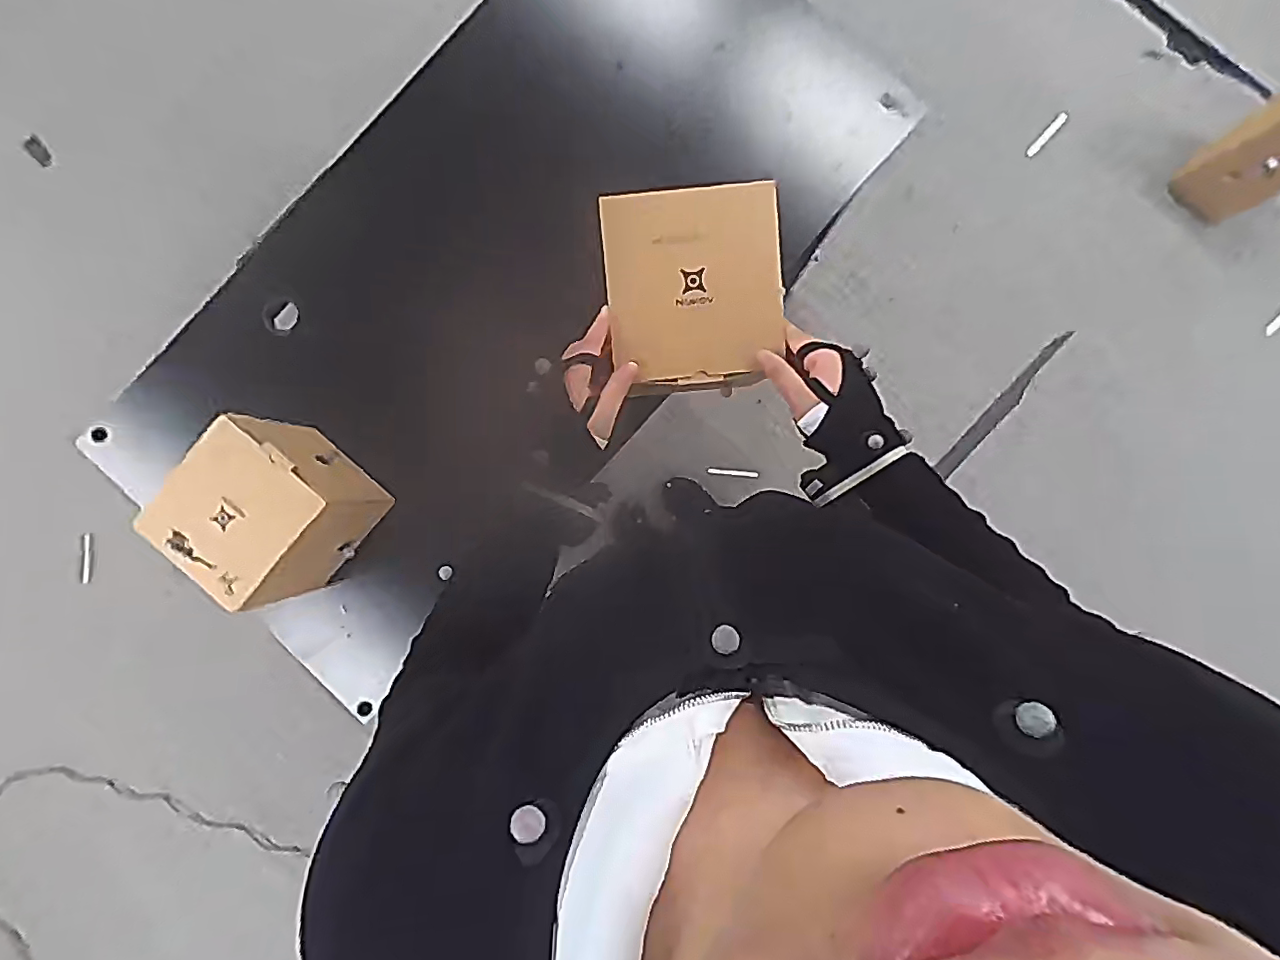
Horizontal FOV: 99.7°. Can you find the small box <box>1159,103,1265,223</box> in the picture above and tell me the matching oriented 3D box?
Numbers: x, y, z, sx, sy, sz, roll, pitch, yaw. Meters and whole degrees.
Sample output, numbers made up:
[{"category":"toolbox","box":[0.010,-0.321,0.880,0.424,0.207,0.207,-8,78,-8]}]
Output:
[{"category":"small box","box":[1.534,-0.812,1.407,0.179,0.176,0.168,42,91,1]}]

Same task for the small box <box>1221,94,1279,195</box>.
[{"category":"small box","box":[1.528,-0.809,1.242,0.168,0.176,0.179,42,91,2]}]

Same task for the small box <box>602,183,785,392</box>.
[{"category":"small box","box":[0.051,-0.189,0.585,0.168,0.176,0.179,-5,95,0]}]

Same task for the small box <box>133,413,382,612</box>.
[{"category":"small box","box":[-0.473,0.040,0.707,0.168,0.176,0.179,40,89,2]}]
